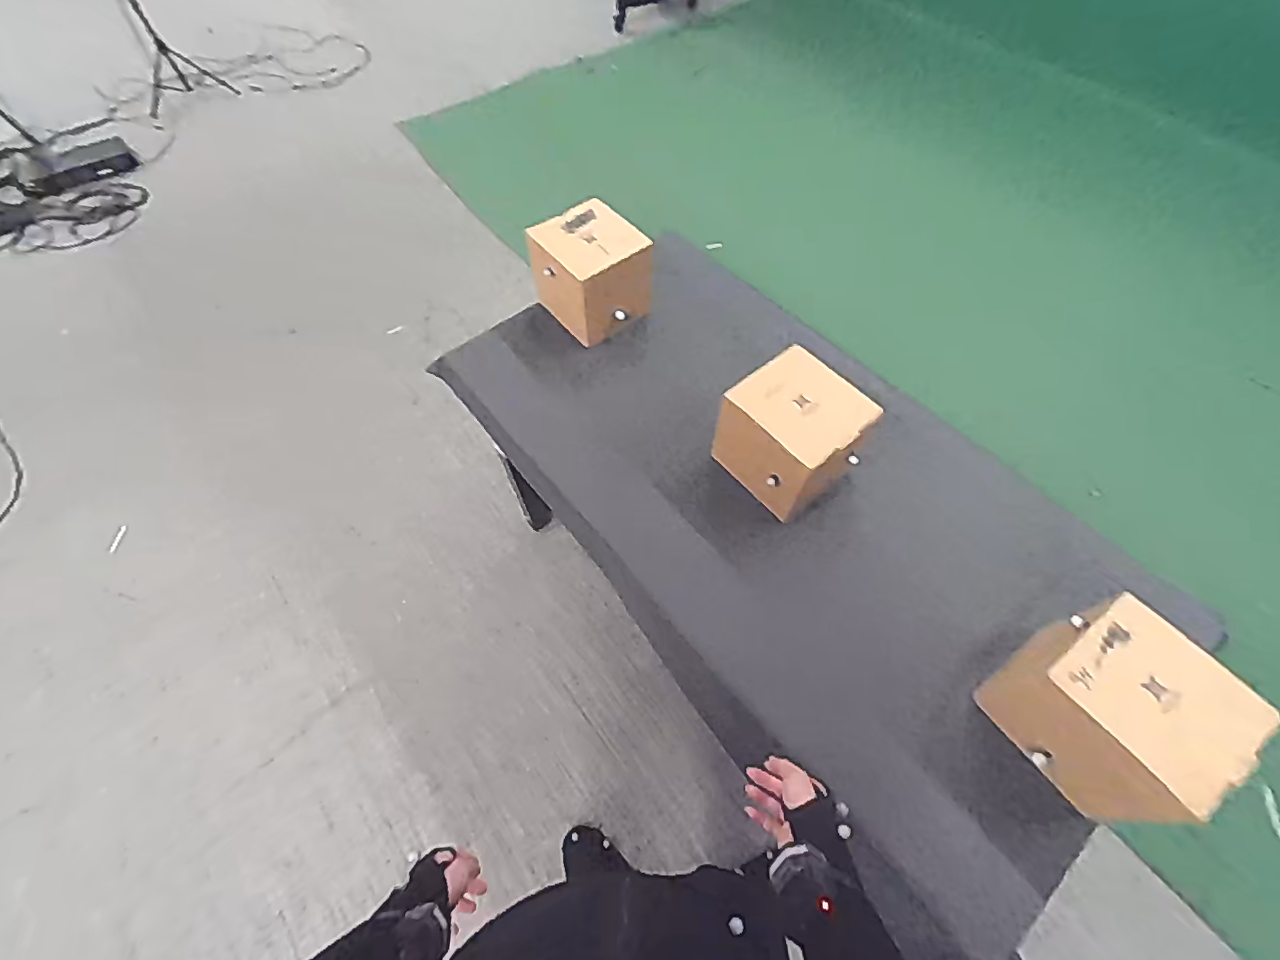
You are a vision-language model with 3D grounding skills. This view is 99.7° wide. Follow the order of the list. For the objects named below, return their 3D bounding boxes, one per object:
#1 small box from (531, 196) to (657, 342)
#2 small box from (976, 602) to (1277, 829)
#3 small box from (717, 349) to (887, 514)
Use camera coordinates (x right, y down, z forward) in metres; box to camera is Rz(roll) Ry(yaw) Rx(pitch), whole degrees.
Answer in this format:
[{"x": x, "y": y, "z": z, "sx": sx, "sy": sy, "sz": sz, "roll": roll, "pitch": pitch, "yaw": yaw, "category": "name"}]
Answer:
[{"x": -0.087, "y": -0.402, "z": 1.044, "sx": 0.168, "sy": 0.176, "sz": 0.179, "roll": -35, "pitch": 68, "yaw": -19, "category": "small box"}, {"x": 0.570, "y": 0.283, "z": 0.661, "sx": 0.168, "sy": 0.176, "sz": 0.179, "roll": -31, "pitch": 65, "yaw": -17, "category": "small box"}, {"x": 0.244, "y": -0.067, "z": 0.861, "sx": 0.168, "sy": 0.176, "sz": 0.179, "roll": -35, "pitch": 65, "yaw": -20, "category": "small box"}]
